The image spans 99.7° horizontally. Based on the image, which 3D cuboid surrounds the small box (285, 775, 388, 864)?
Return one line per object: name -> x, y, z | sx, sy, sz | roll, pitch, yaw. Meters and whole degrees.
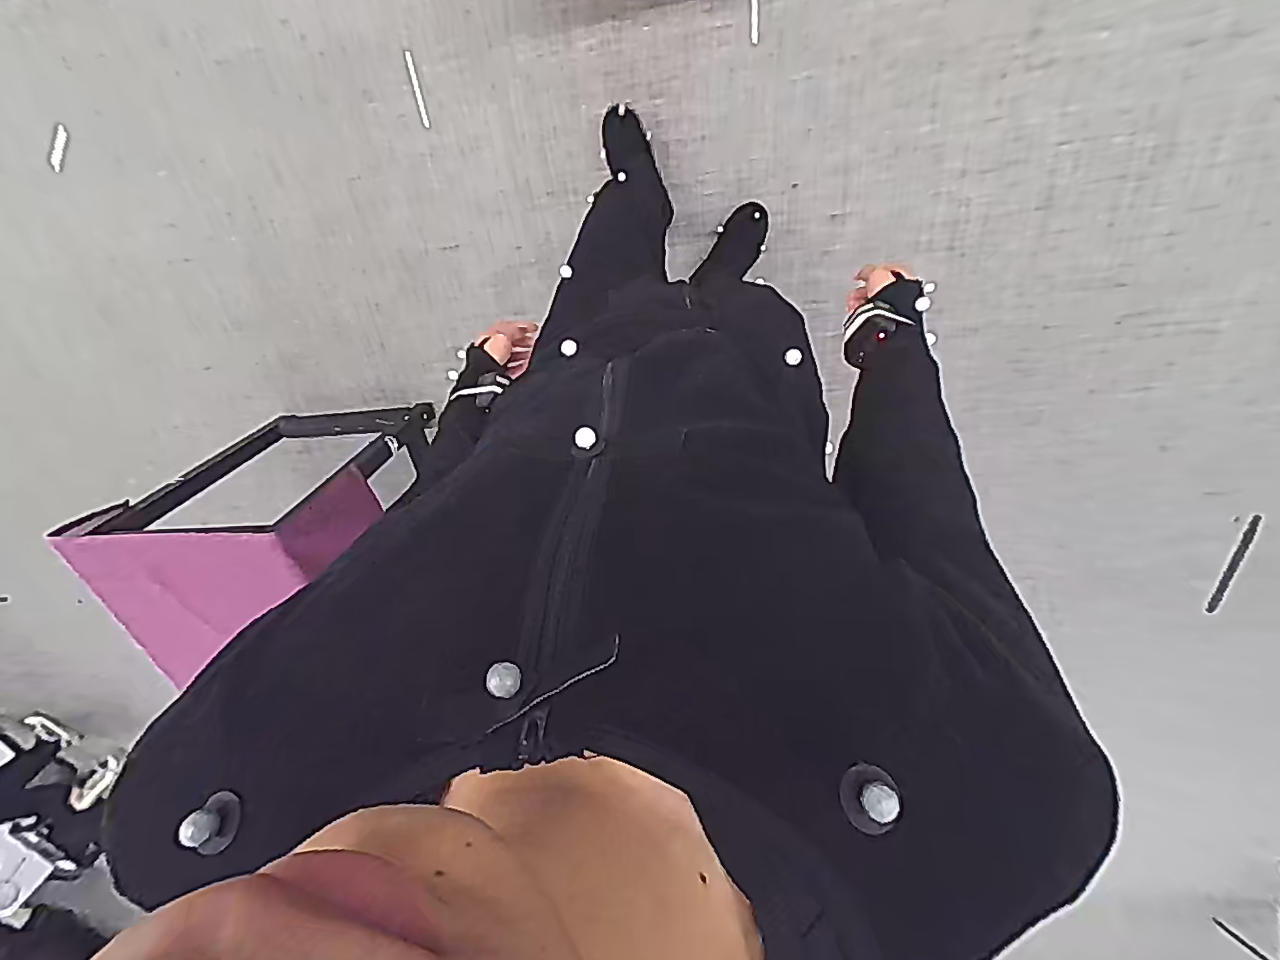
small box -> -0.874, 0.991, 1.585 | 0.179, 0.176, 0.168 | -10, 119, 15
